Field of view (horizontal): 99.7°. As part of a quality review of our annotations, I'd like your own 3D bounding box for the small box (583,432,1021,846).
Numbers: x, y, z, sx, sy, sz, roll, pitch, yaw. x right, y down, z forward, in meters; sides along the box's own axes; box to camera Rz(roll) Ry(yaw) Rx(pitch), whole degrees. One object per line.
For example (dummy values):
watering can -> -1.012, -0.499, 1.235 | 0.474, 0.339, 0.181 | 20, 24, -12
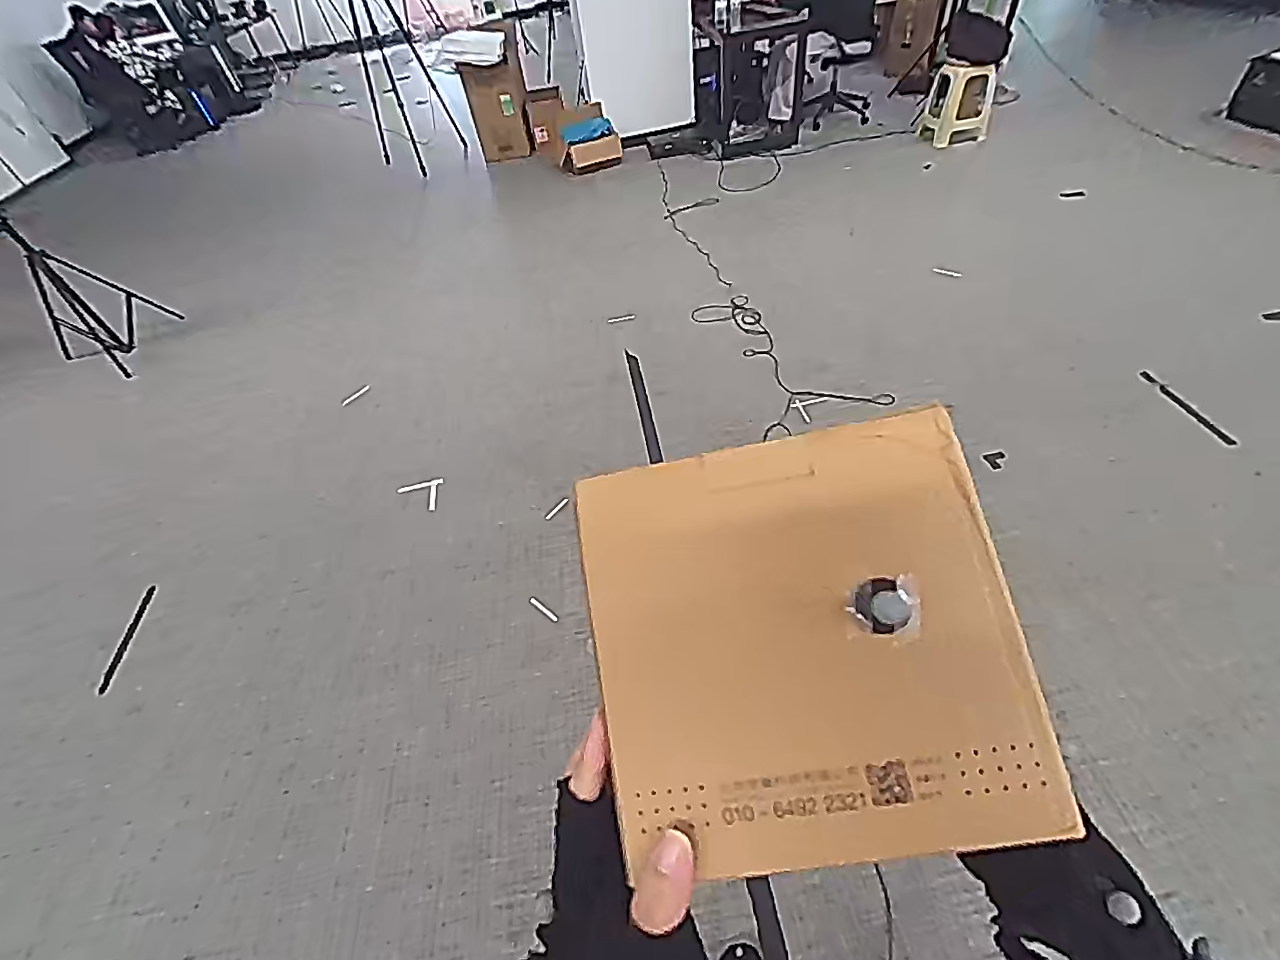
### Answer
small box -> 0.077, 0.090, 0.317 | 0.168, 0.179, 0.176 | -11, 77, 7
